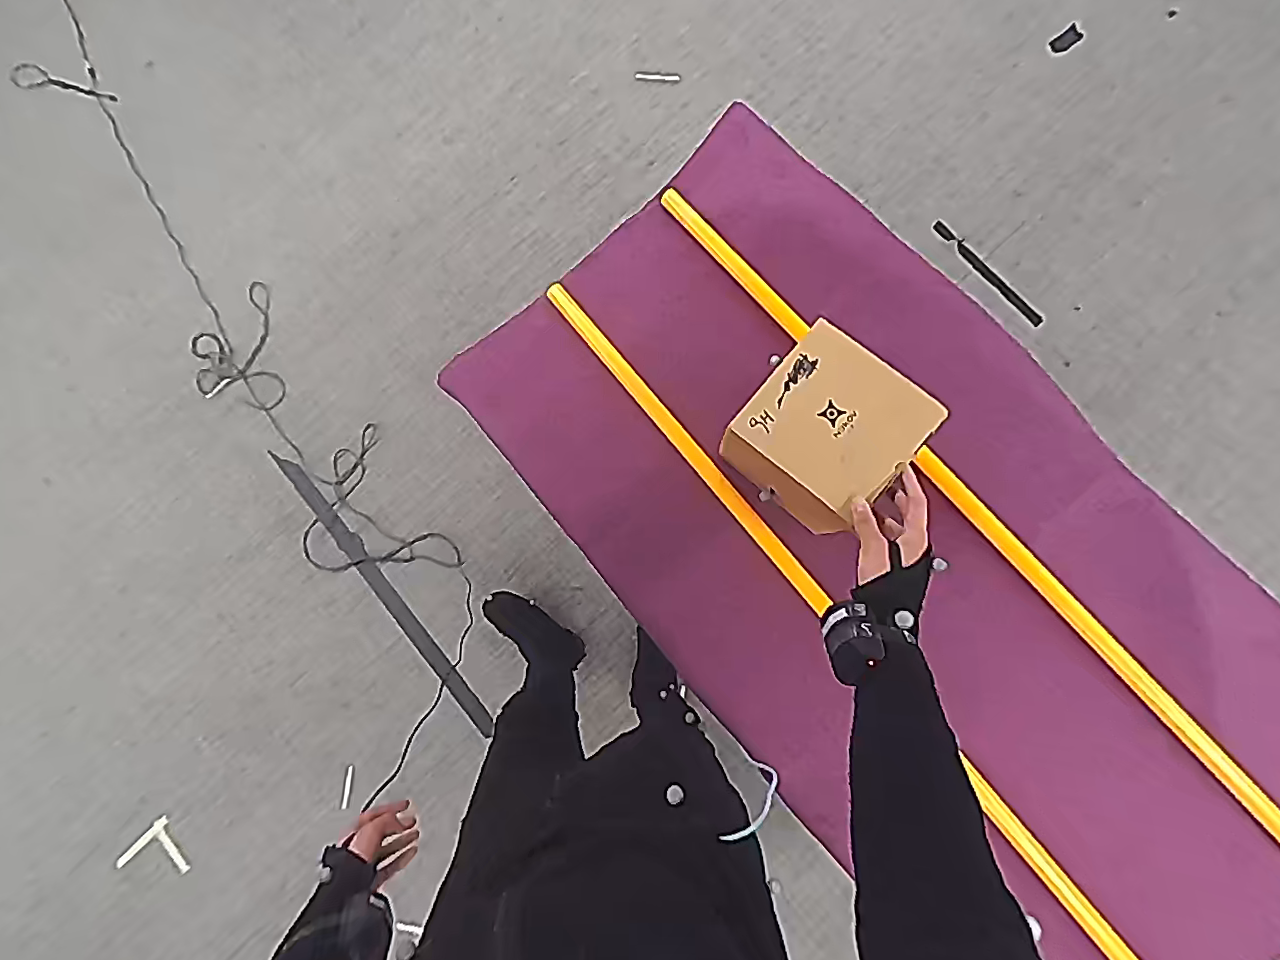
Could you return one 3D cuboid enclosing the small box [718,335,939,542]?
[{"bbox_3d":[0.216,-0.041,0.674,0.179,0.176,0.168,41,87,8],"label":"small box"}]
